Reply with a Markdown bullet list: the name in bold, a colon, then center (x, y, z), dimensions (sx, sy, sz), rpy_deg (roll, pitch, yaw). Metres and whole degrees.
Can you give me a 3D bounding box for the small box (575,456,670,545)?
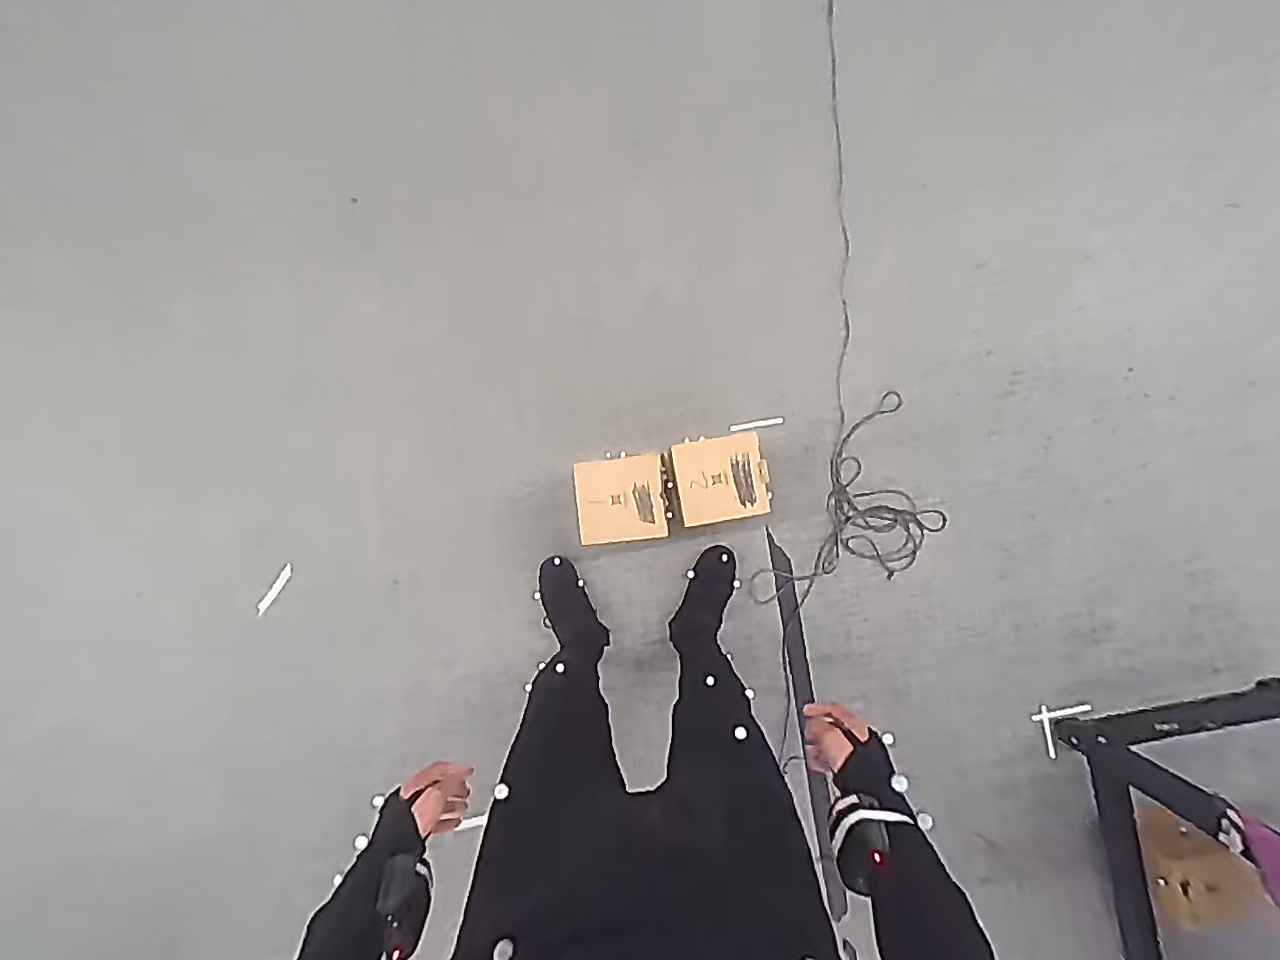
- **small box**: center (-0.030, 0.039, 1.137), dimensions (0.179, 0.176, 0.168), rpy_deg (-6, 90, 4)
